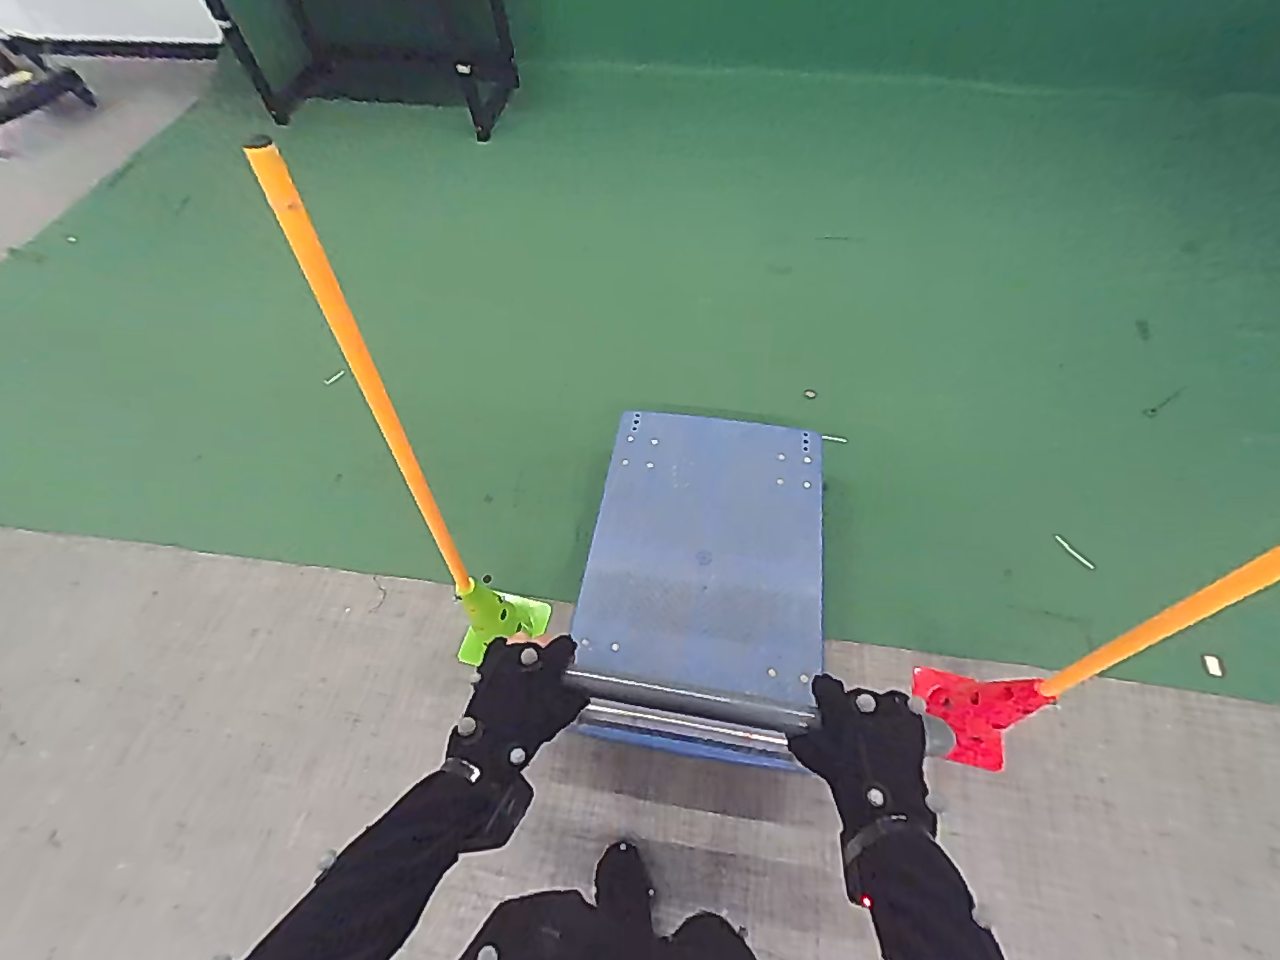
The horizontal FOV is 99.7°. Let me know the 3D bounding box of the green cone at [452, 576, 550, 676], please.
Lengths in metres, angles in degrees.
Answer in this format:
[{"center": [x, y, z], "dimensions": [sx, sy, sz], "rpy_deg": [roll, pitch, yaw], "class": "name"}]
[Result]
[{"center": [-0.366, 0.313, 1.296], "dimensions": [0.202, 0.368, 0.200], "rpy_deg": [11, 59, 9], "class": "green cone"}]
